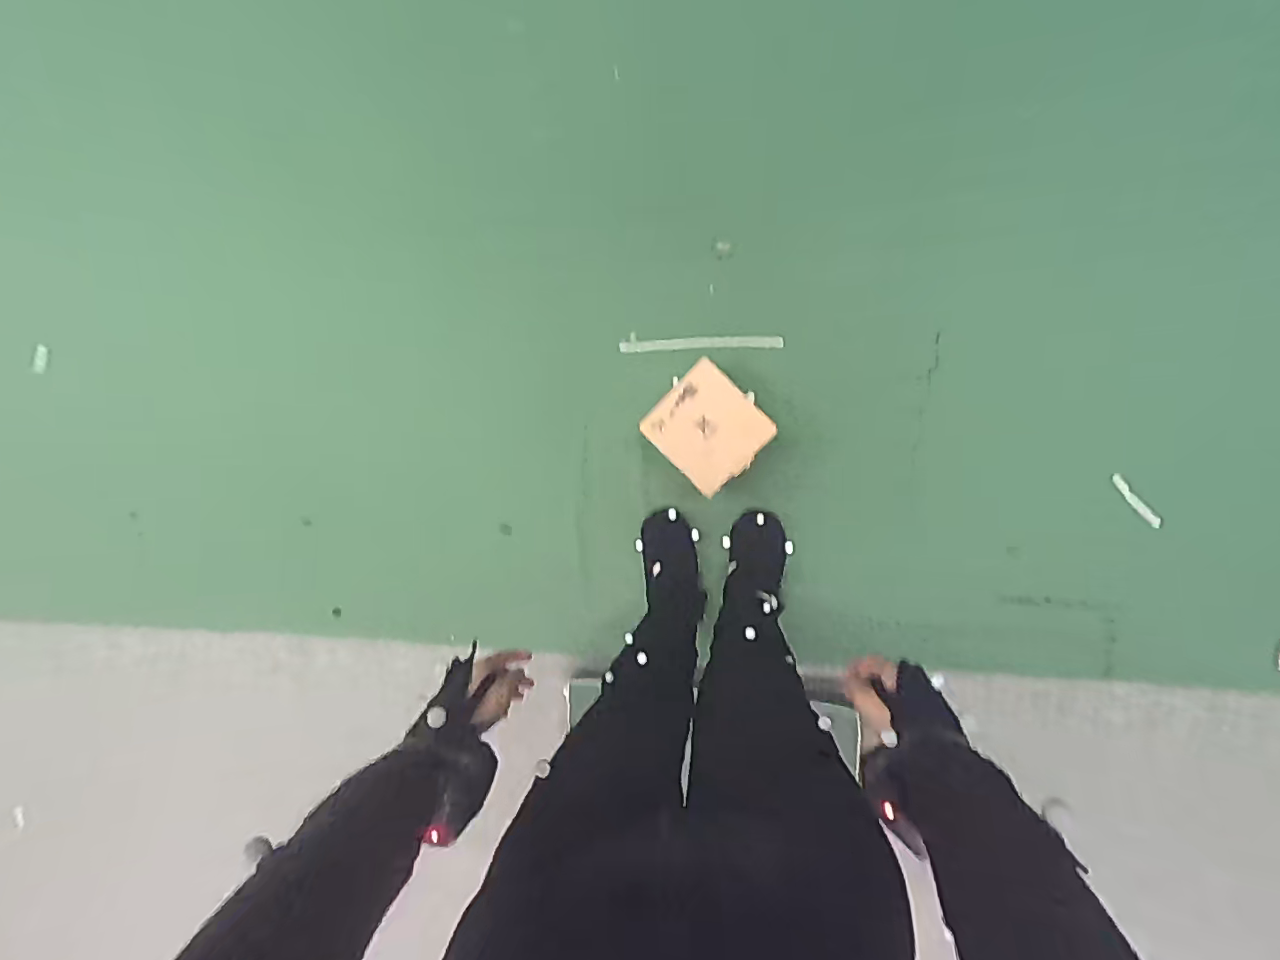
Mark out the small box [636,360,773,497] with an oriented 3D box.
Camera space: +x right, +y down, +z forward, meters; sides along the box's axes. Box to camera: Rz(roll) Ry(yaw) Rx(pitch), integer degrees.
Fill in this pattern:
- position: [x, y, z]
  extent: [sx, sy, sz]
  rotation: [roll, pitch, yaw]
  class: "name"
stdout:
- position: [0.120, -0.099, 0.987]
  extent: [0.179, 0.176, 0.168]
  rotation: [45, 103, 0]
  class: "small box"
